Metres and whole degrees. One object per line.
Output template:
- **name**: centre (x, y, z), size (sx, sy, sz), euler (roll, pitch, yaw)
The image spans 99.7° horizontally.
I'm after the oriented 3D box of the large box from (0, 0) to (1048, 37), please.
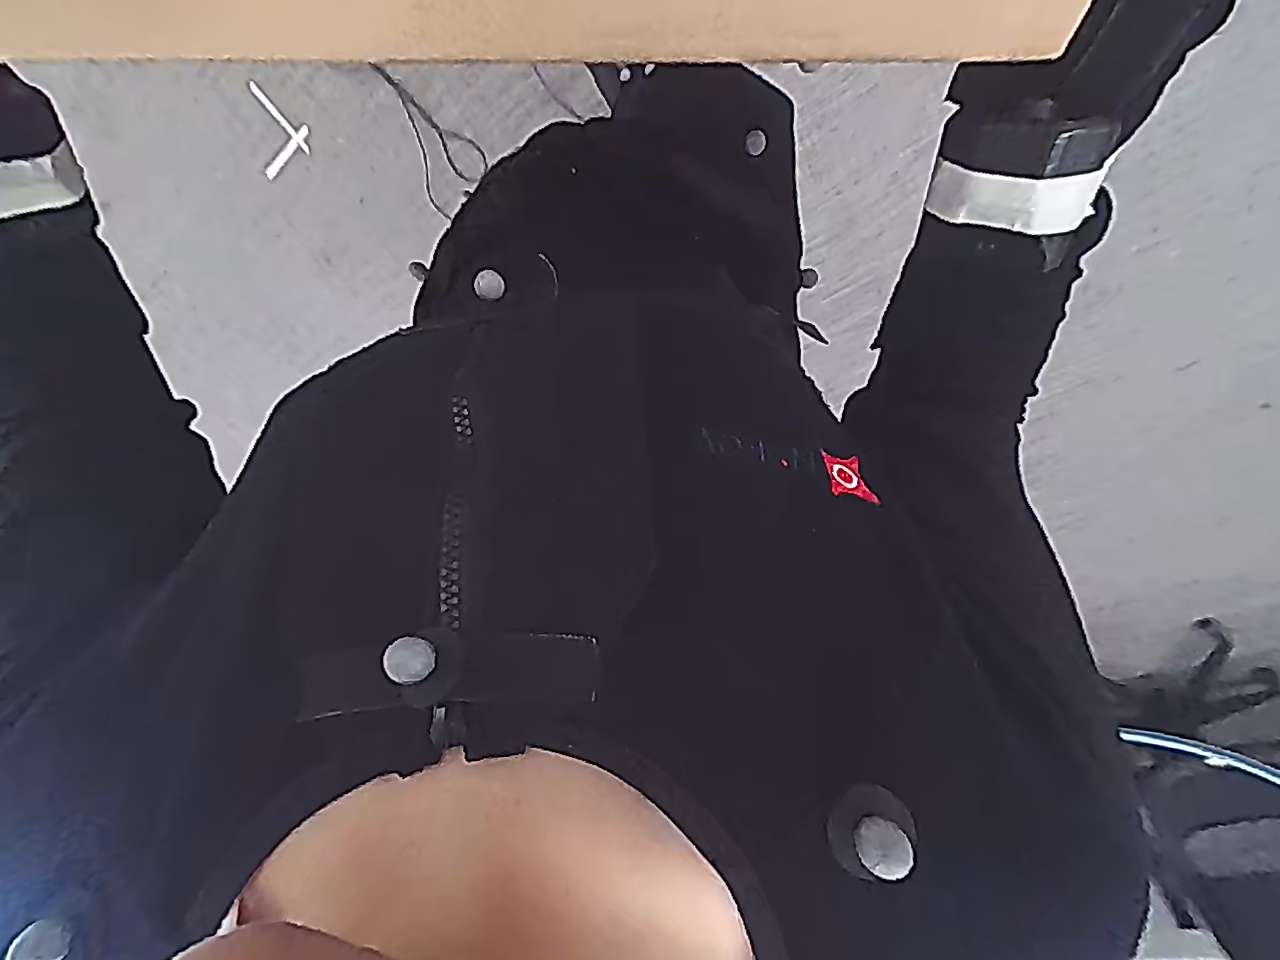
- **large box**: centre (-0.054, -0.369, 0.159), size (0.408, 0.320, 0.320), euler (-1, 141, -3)
